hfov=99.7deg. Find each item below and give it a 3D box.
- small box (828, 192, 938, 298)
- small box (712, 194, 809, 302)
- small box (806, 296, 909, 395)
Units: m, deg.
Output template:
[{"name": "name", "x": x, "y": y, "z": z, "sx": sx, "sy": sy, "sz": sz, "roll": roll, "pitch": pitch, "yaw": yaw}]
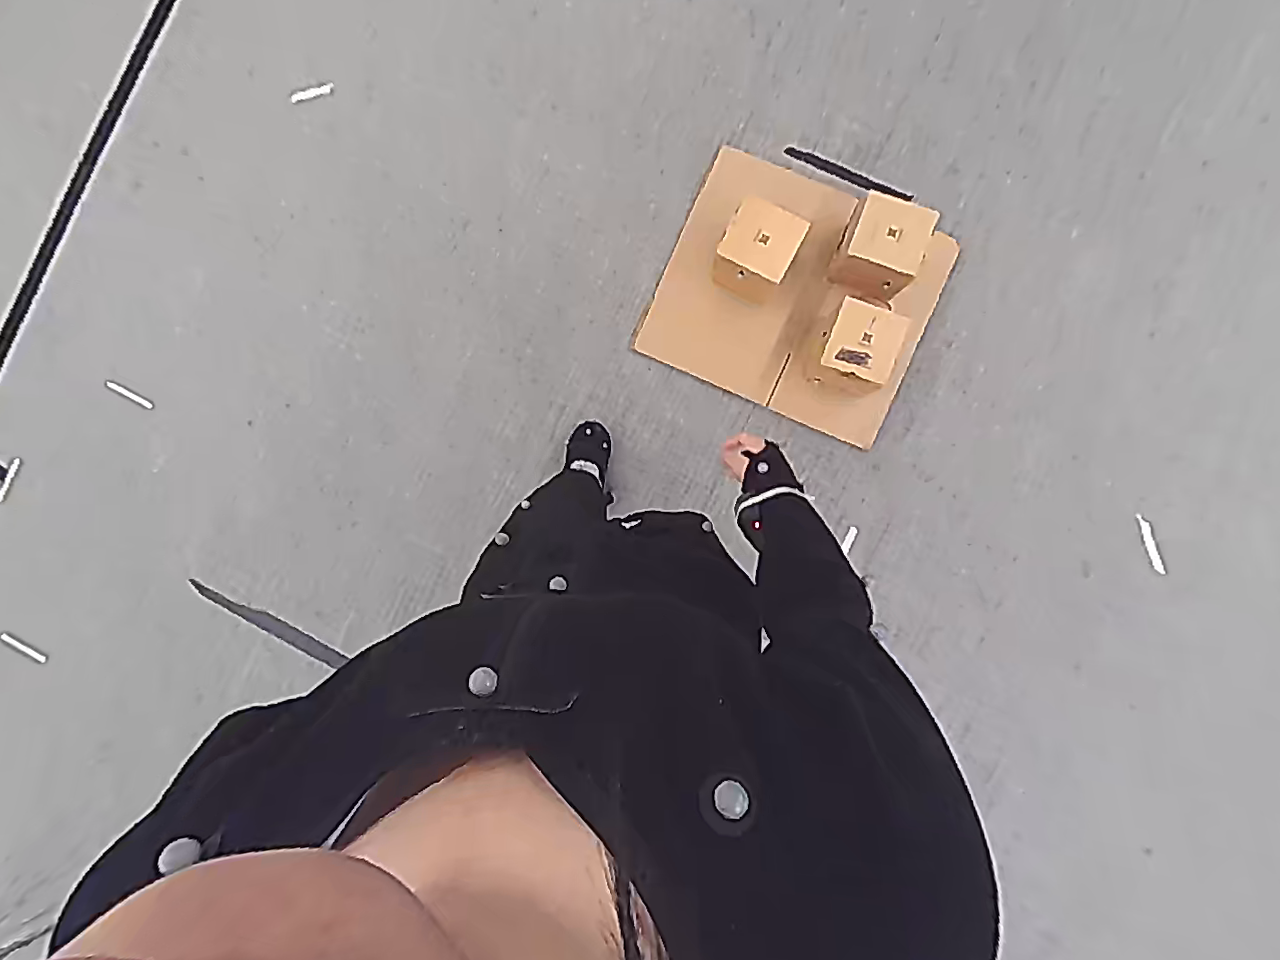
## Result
[{"name": "small box", "x": 0.601, "y": -0.579, "z": 1.357, "sx": 0.179, "sy": 0.176, "sz": 0.168, "roll": 20, "pitch": 89, "yaw": 4}, {"name": "small box", "x": 0.297, "y": -0.576, "z": 1.371, "sx": 0.179, "sy": 0.176, "sz": 0.168, "roll": 28, "pitch": 91, "yaw": 4}, {"name": "small box", "x": 0.534, "y": -0.327, "z": 1.357, "sx": 0.168, "sy": 0.176, "sz": 0.179, "roll": 21, "pitch": 91, "yaw": 3}]
